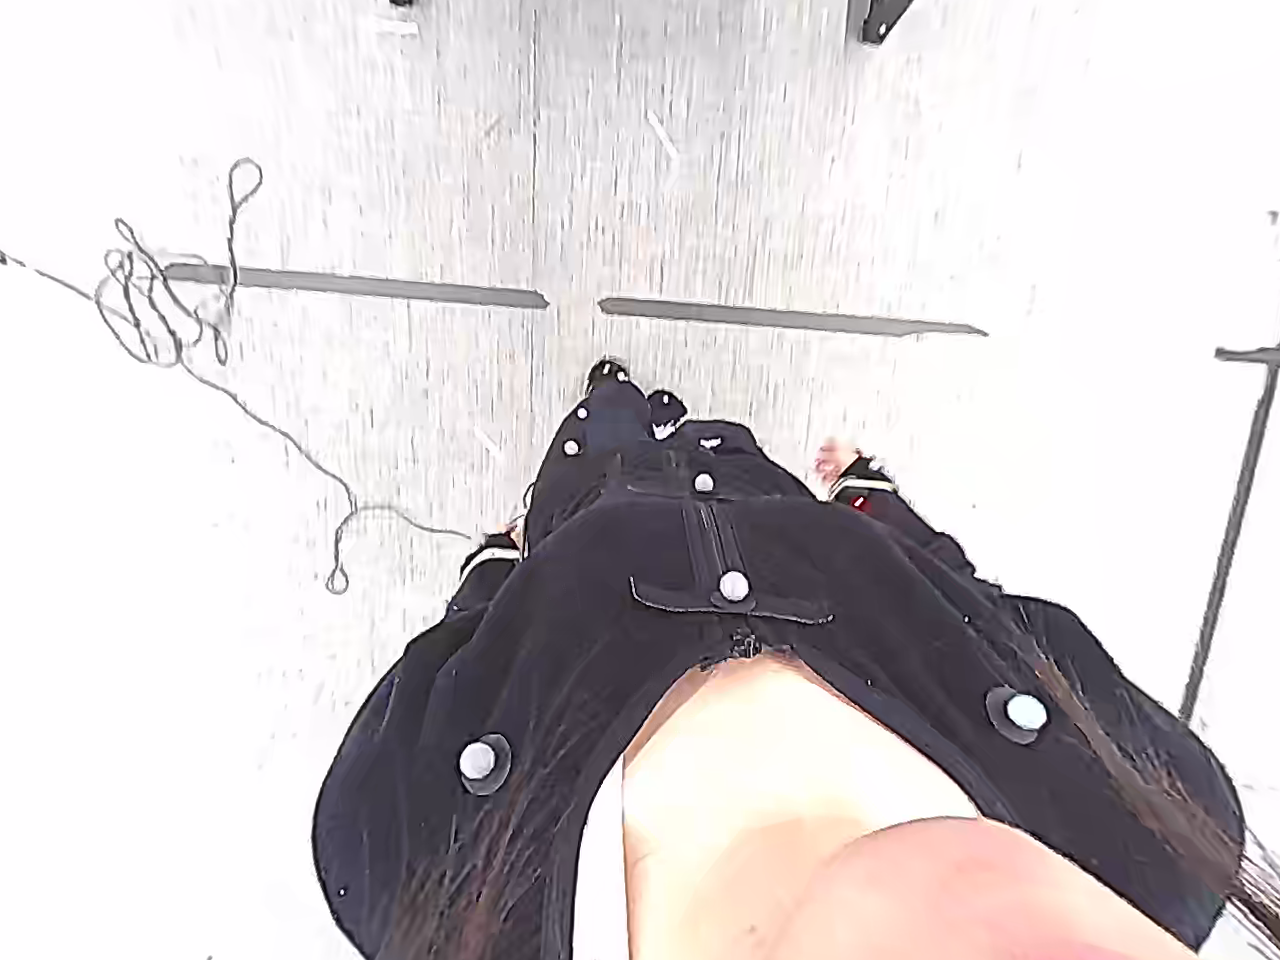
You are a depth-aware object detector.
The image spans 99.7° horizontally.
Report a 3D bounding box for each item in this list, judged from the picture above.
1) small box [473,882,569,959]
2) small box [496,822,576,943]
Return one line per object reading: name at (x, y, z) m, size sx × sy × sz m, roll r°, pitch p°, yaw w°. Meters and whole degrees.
small box at (-0.242, 0.983, 1.133) m, size 0.168 × 0.176 × 0.179 m, roll -1°, pitch 101°, yaw 0°
small box at (-0.242, 0.960, 1.294) m, size 0.168 × 0.176 × 0.179 m, roll 0°, pitch 100°, yaw -2°
